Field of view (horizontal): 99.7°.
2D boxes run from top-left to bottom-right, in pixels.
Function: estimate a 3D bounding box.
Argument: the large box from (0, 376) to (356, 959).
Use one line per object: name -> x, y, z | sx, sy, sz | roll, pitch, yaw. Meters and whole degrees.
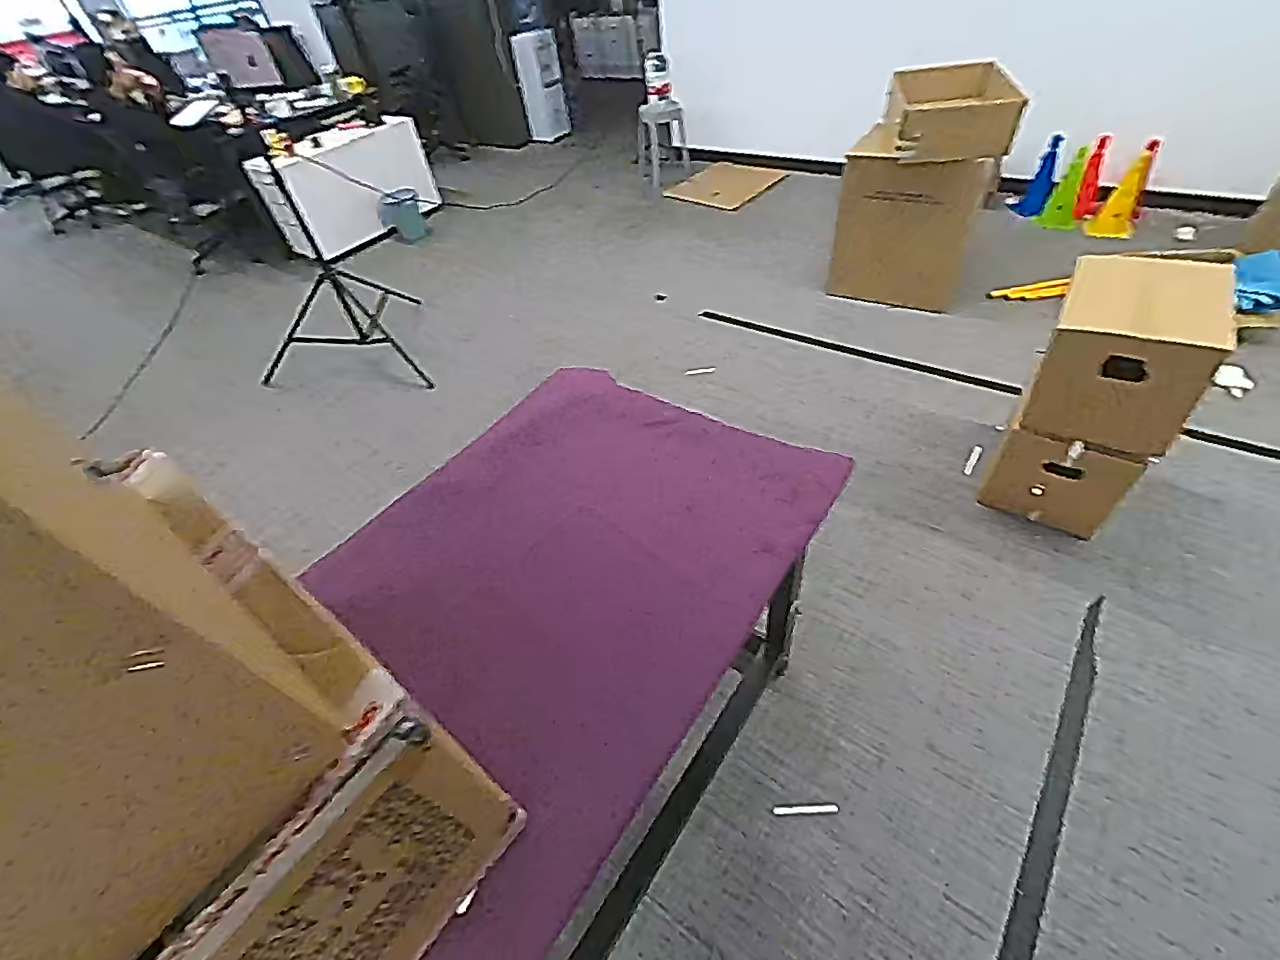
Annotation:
large box -> -0.450, 0.086, 0.277 | 0.408, 0.320, 0.320 | 24, 56, 28
